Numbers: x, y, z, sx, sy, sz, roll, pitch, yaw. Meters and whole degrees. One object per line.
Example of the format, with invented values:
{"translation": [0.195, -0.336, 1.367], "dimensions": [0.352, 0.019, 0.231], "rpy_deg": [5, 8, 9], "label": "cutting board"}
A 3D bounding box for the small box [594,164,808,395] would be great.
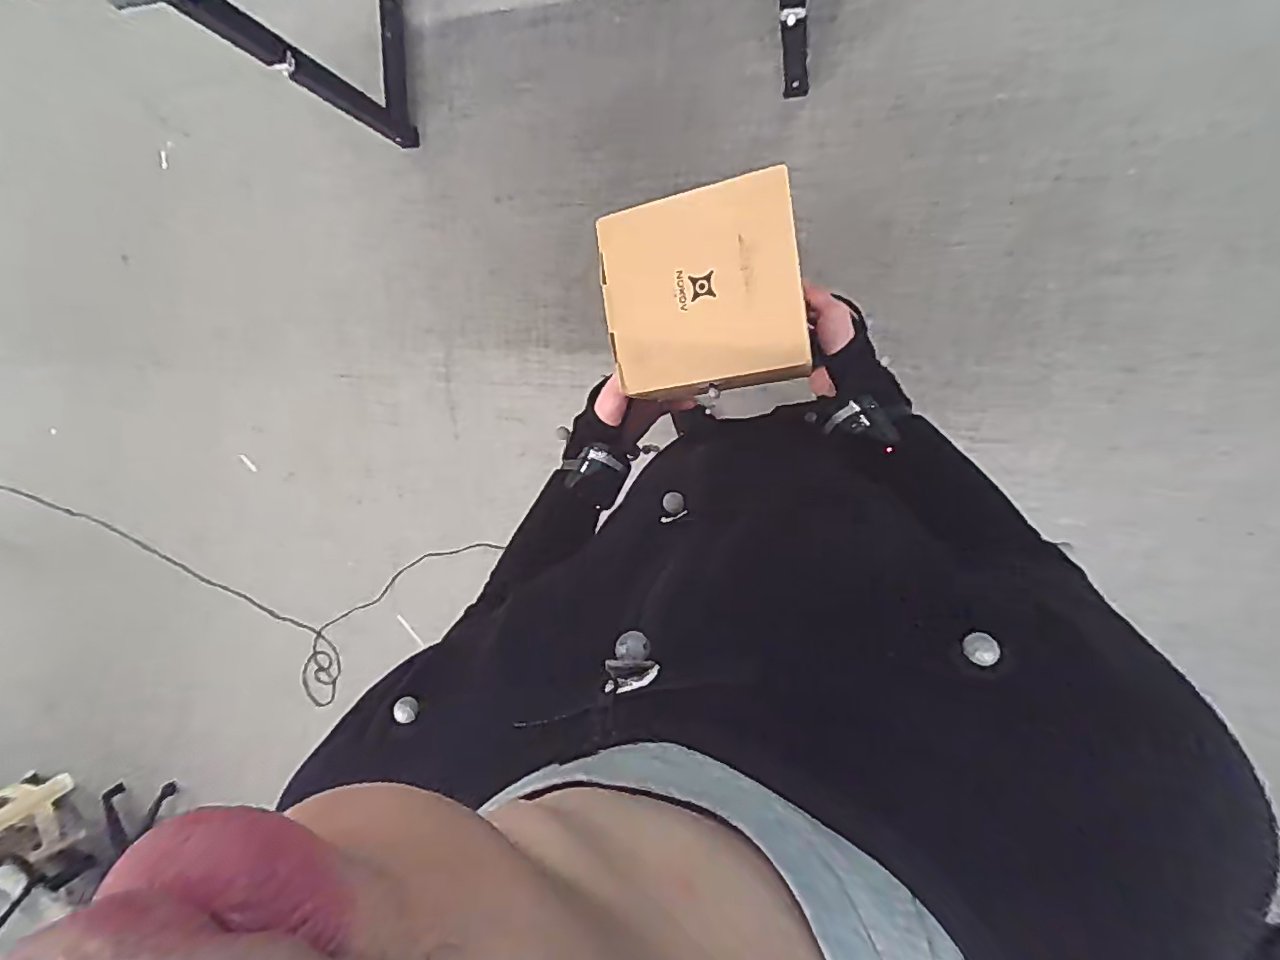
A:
{"translation": [0.073, -0.182, 0.554], "dimensions": [0.179, 0.176, 0.168], "rpy_deg": [-7, 95, 18], "label": "small box"}
